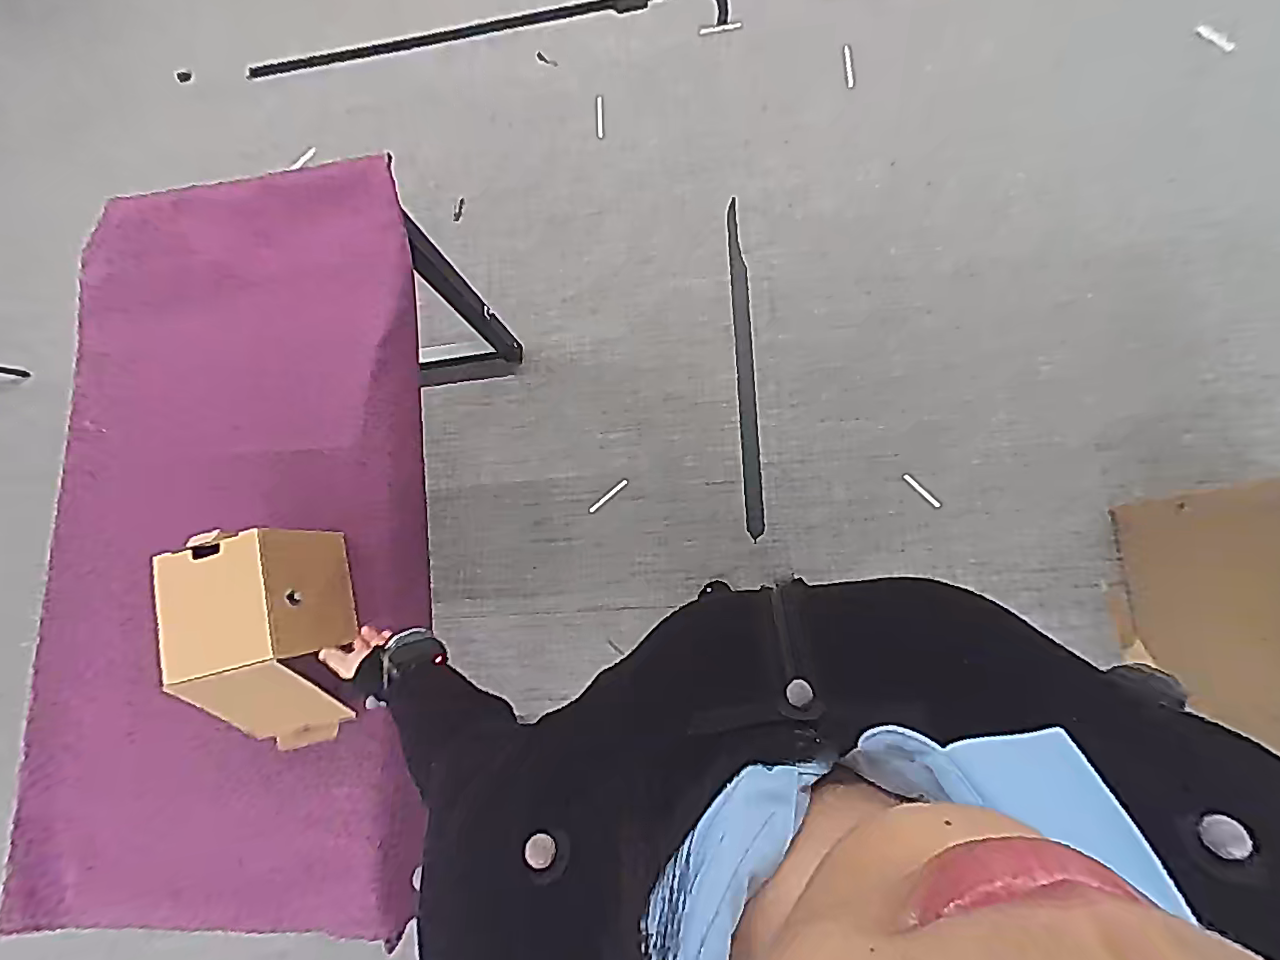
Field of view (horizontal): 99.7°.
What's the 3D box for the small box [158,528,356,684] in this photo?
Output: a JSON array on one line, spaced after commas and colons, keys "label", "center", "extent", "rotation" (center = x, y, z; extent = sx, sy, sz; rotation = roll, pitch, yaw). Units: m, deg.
[{"label": "small box", "center": [-0.544, 0.175, 0.788], "extent": [0.168, 0.176, 0.179], "rotation": [-15, 79, 6]}]
